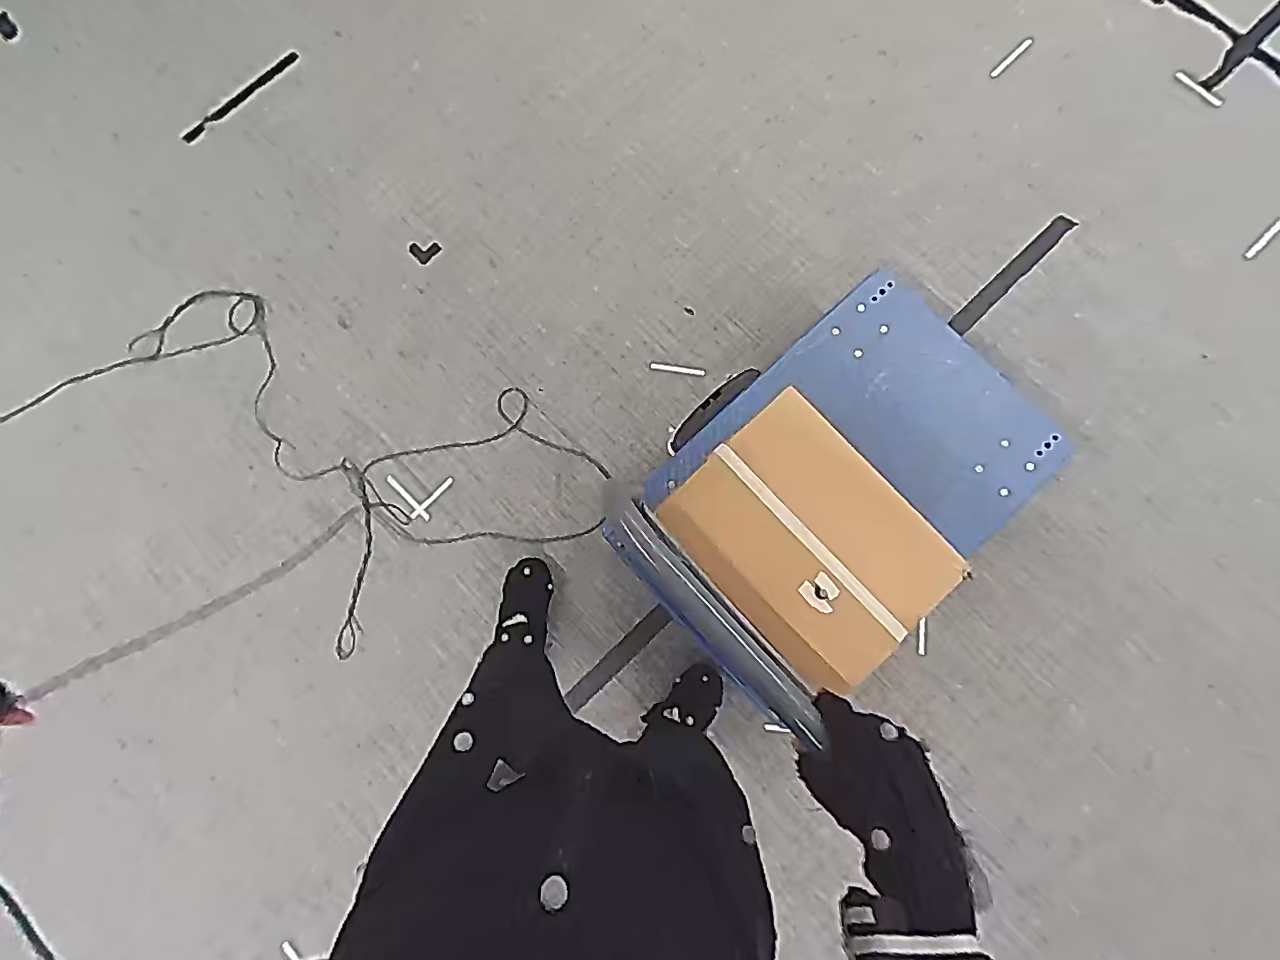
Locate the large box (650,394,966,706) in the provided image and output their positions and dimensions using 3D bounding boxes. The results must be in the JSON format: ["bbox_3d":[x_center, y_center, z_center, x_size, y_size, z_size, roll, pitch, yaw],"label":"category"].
[{"bbox_3d":[0.262,0.117,0.992,0.320,0.320,0.408,-43,85,-3],"label":"large box"}]
